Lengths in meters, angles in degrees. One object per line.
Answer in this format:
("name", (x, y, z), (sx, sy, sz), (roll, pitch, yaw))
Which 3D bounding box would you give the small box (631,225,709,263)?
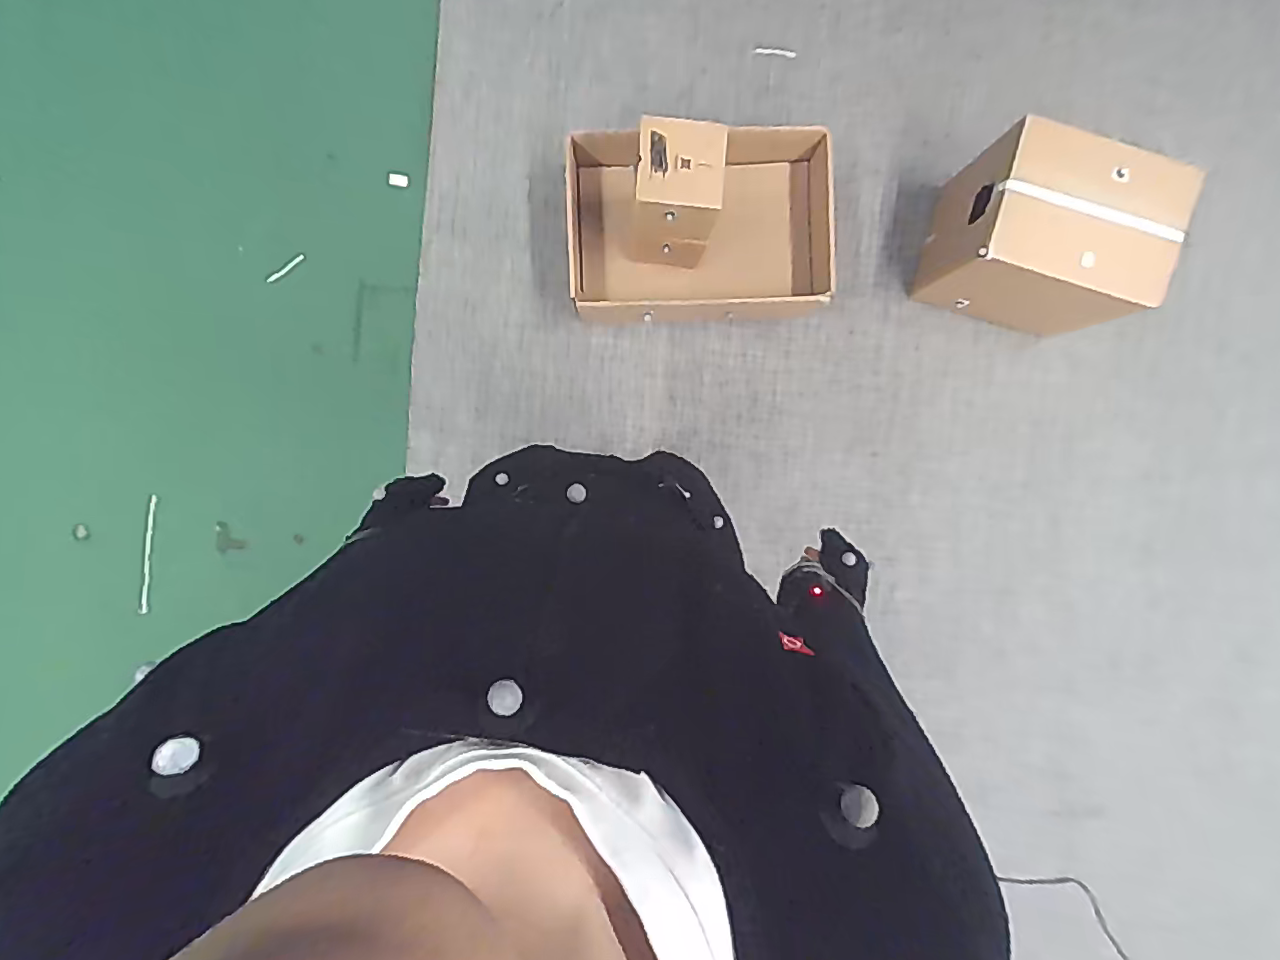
("small box", (0.072, -0.641, 1.305), (0.179, 0.176, 0.168), (5, 93, -4))

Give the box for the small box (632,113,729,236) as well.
("small box", (0.077, -0.634, 1.141), (0.179, 0.176, 0.168), (4, 93, -4))
